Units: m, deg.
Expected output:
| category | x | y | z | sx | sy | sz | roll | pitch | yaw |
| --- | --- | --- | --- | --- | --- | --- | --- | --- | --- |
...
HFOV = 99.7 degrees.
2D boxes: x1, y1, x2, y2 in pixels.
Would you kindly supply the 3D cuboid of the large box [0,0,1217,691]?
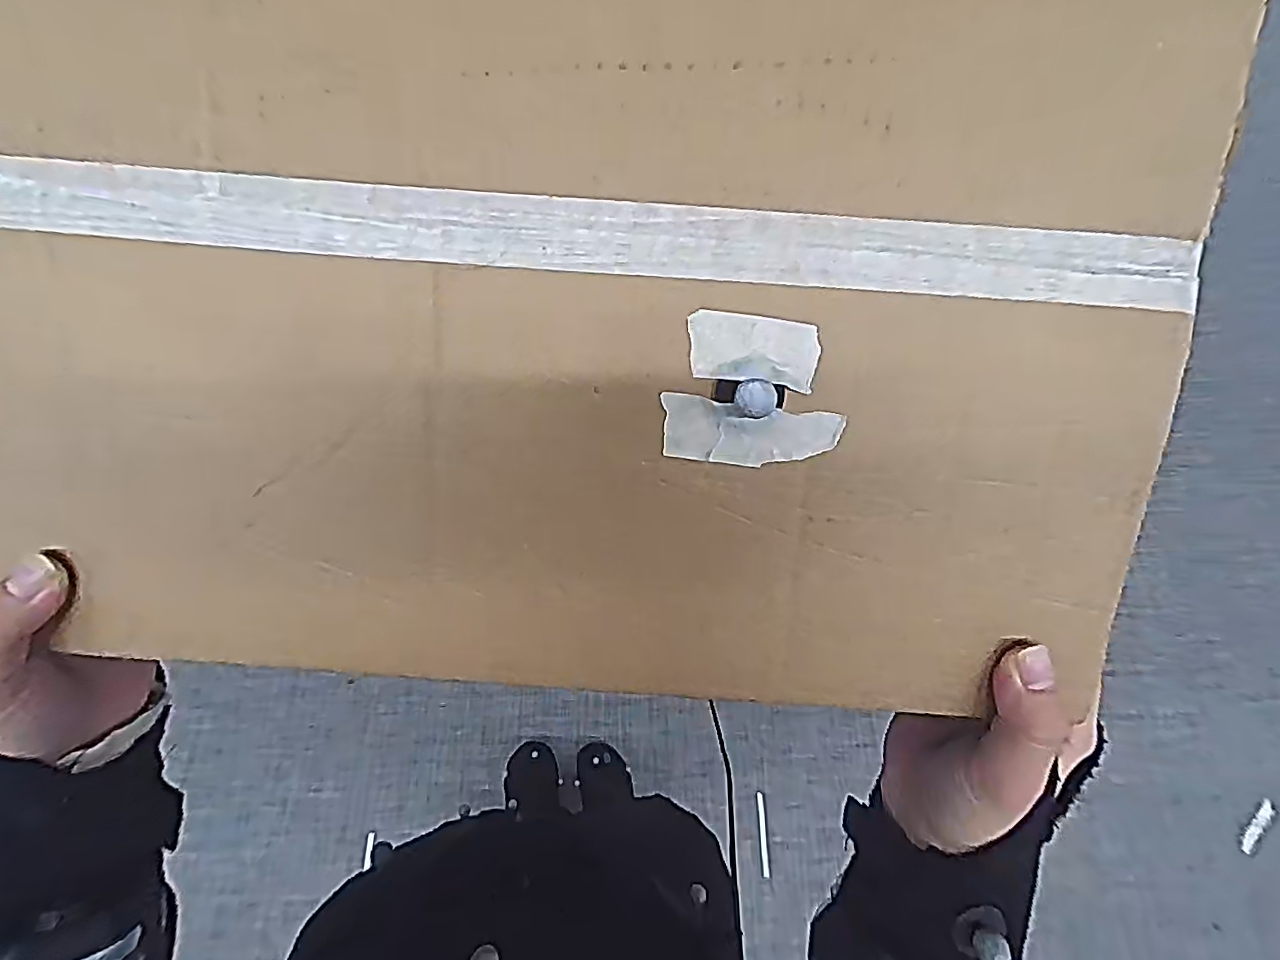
| category | x | y | z | sx | sy | sz | roll | pitch | yaw |
| --- | --- | --- | --- | --- | --- | --- | --- | --- | --- |
| large box | -0.025 | -0.101 | 0.330 | 0.408 | 0.320 | 0.320 | 4 | 101 | -1 |
